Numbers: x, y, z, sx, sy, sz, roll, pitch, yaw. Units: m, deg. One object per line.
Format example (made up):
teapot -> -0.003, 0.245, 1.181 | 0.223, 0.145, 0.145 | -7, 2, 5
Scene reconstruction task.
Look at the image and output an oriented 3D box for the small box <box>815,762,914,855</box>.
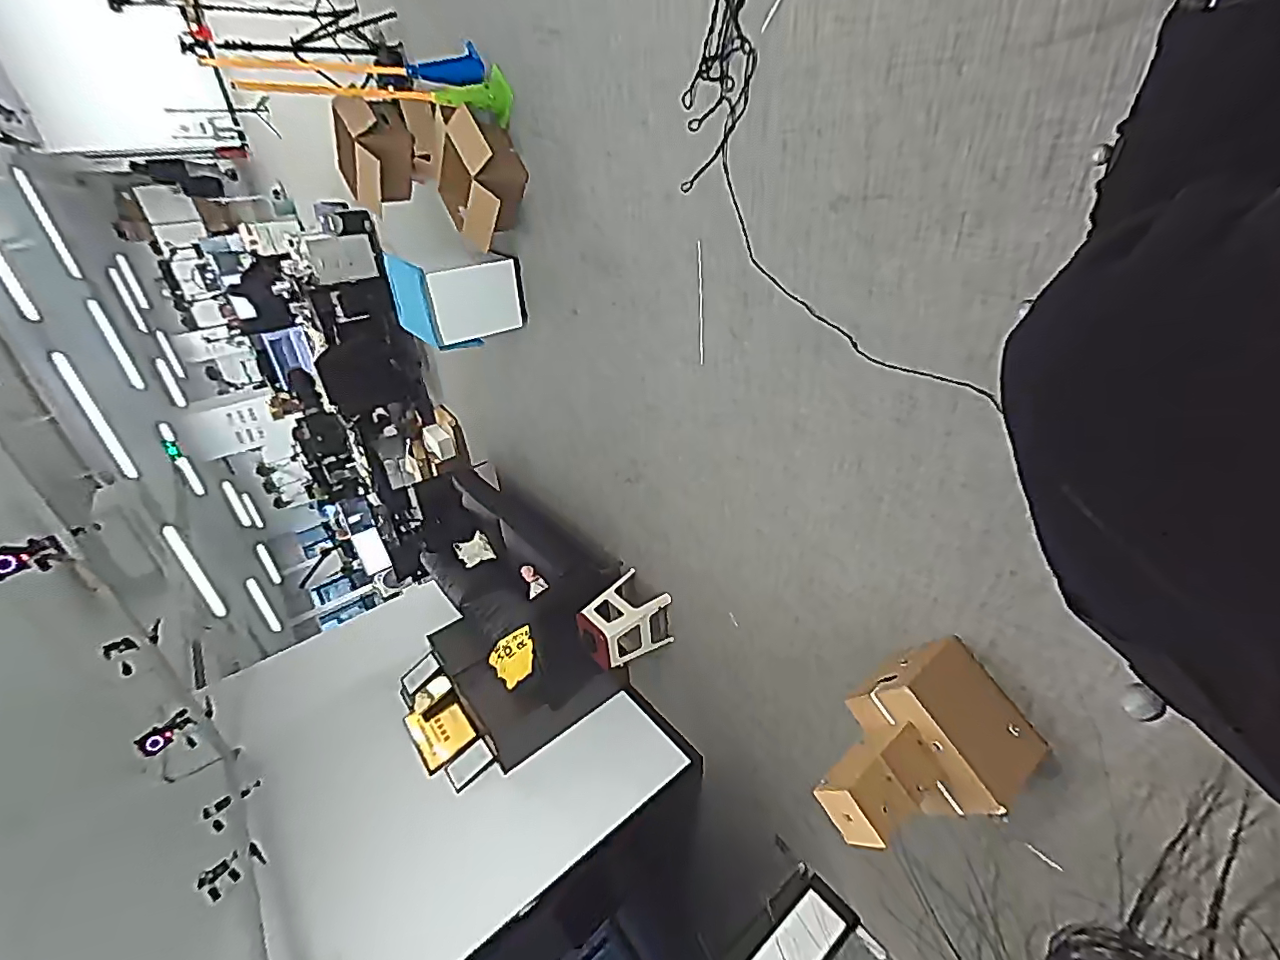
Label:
small box -> 0.652, 0.937, 1.556 | 0.168, 0.176, 0.179 | 56, 150, 17
